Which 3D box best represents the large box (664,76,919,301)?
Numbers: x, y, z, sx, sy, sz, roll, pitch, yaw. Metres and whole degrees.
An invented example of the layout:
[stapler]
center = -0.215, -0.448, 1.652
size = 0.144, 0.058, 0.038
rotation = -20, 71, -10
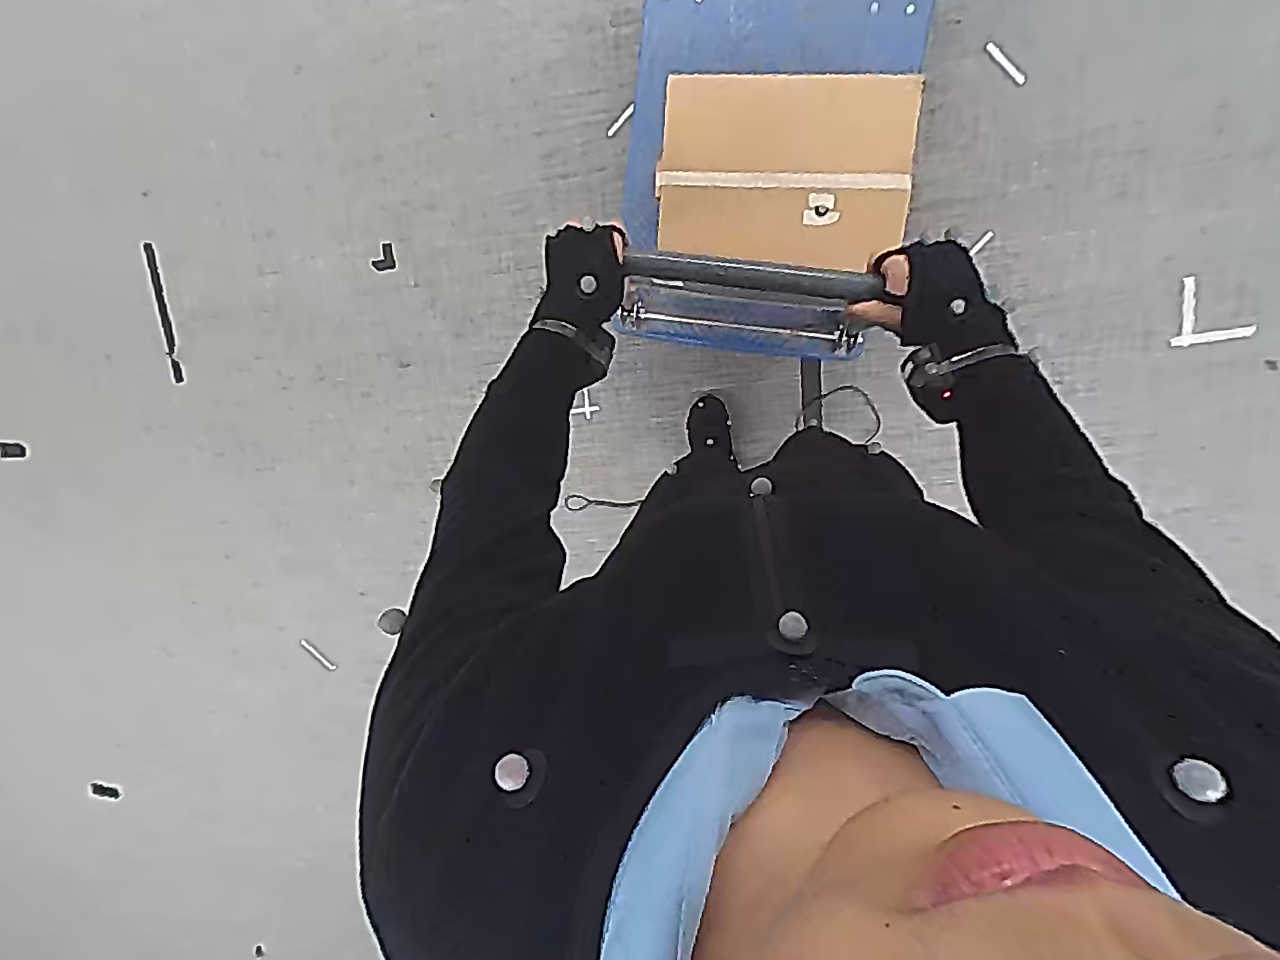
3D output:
[large box]
center = 0.257, -0.531, 1.051
size = 0.408, 0.320, 0.320
rotation = 4, 102, 5
